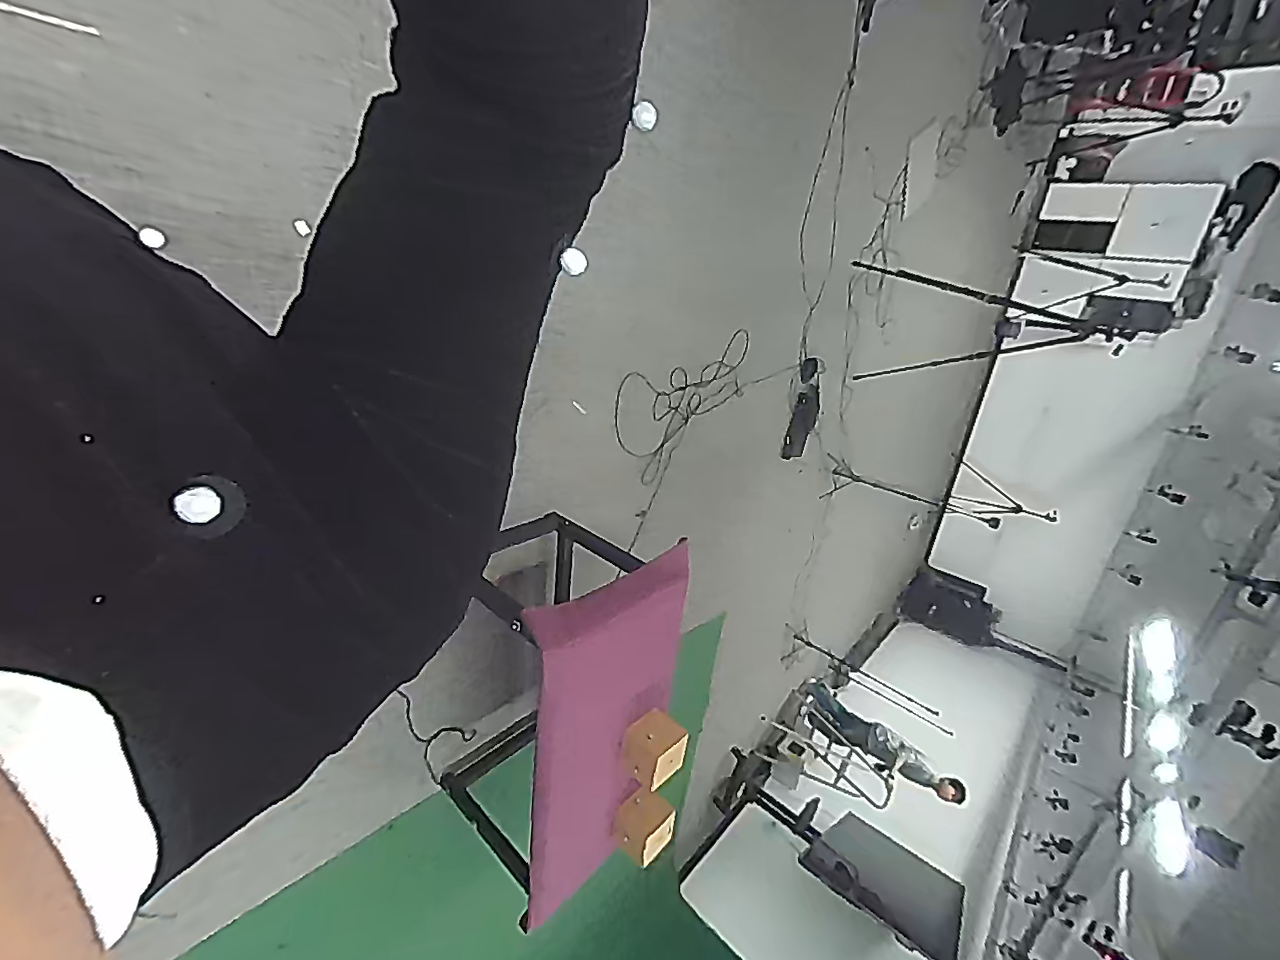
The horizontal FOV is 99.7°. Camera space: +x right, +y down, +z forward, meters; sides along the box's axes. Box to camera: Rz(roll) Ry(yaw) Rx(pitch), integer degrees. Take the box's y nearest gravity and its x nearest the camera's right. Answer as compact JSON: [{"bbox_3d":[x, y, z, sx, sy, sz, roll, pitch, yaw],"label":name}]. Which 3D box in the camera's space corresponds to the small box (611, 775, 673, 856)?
[{"bbox_3d":[0.004,1.329,2.151,0.179,0.176,0.168,-16,121,-45],"label":"small box"}]

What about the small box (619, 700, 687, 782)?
[{"bbox_3d":[0.043,0.955,1.992,0.179,0.176,0.168,-14,120,-47],"label":"small box"}]
